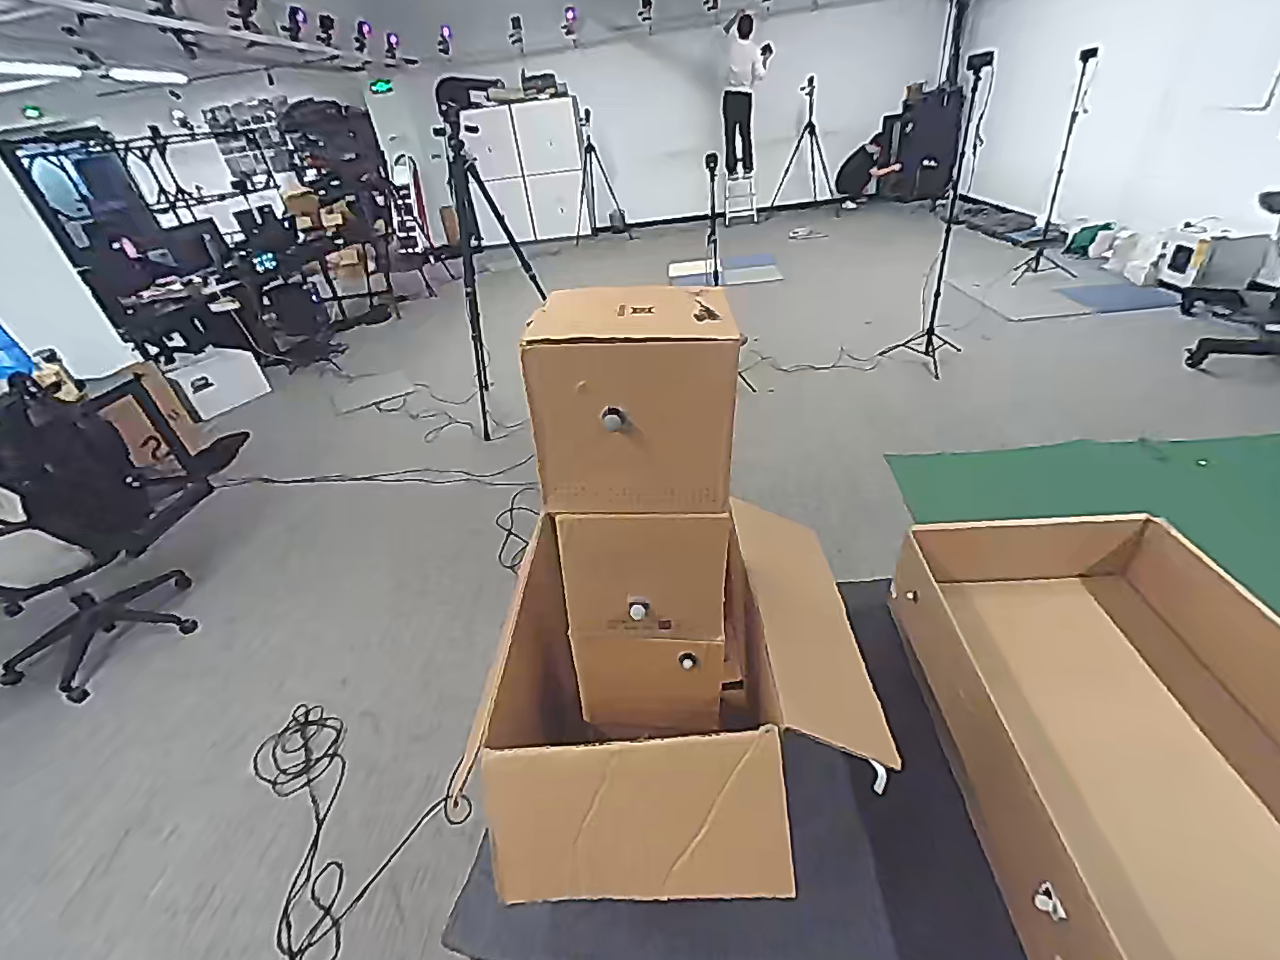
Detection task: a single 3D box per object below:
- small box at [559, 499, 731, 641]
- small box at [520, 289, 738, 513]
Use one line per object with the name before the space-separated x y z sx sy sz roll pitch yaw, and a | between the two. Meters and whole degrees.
small box | 0.009 0.059 0.618 0.168 0.176 0.179 -1 33 2
small box | -0.002 -0.079 0.529 0.179 0.176 0.168 -1 33 3
